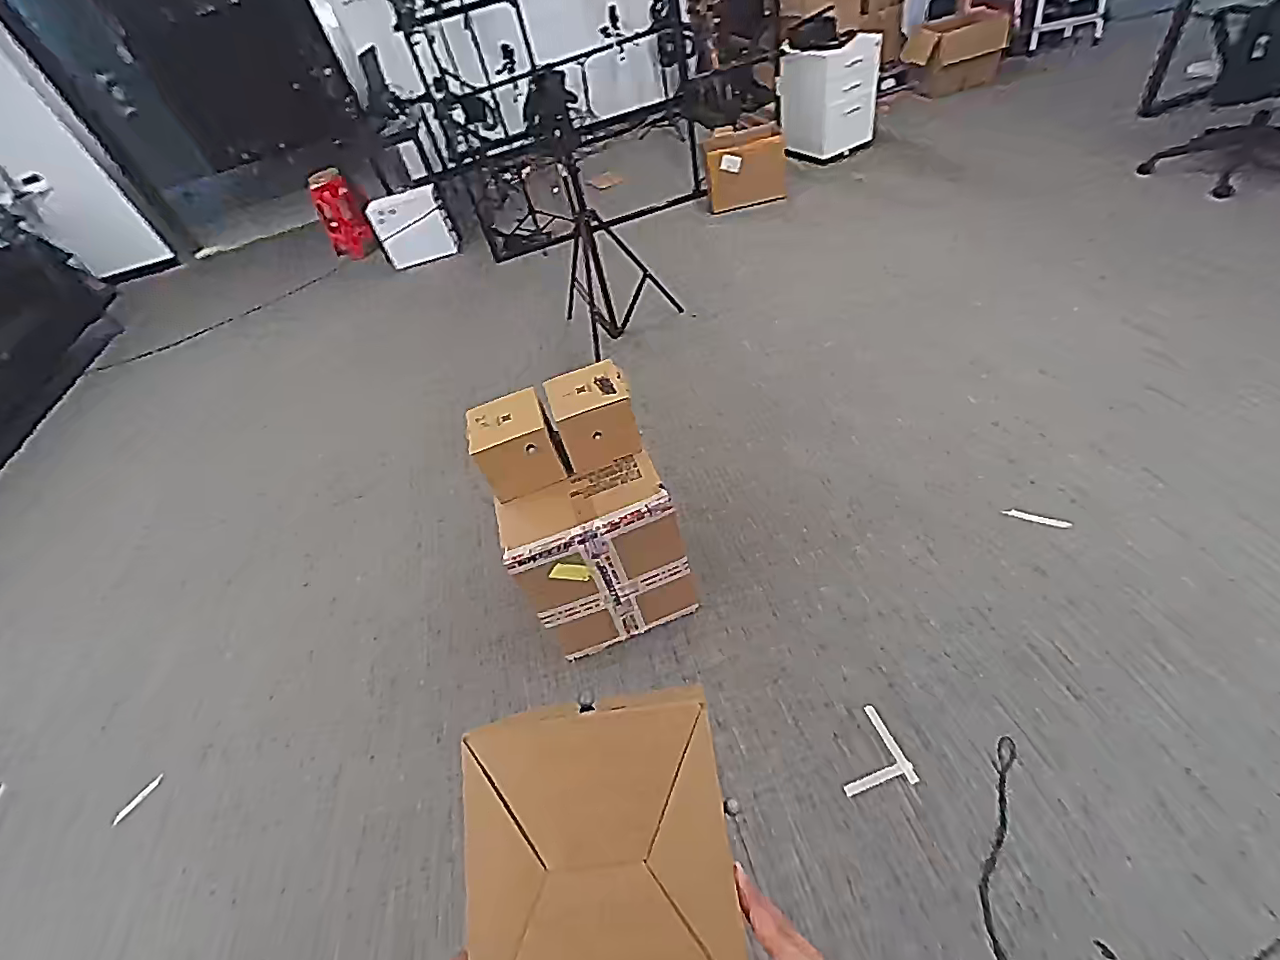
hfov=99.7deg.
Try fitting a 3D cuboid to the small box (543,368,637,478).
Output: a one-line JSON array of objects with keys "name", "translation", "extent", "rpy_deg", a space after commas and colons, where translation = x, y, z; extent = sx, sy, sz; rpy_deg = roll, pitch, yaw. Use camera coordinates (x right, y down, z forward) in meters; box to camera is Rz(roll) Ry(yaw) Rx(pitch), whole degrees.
[{"name": "small box", "translation": [-0.114, -0.136, 1.303], "extent": [0.179, 0.176, 0.168], "rpy_deg": [-20, 46, -4]}]

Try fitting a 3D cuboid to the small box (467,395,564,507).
[{"name": "small box", "translation": [-0.291, -0.066, 1.288], "extent": [0.179, 0.176, 0.168], "rpy_deg": [-22, 45, -1]}]
